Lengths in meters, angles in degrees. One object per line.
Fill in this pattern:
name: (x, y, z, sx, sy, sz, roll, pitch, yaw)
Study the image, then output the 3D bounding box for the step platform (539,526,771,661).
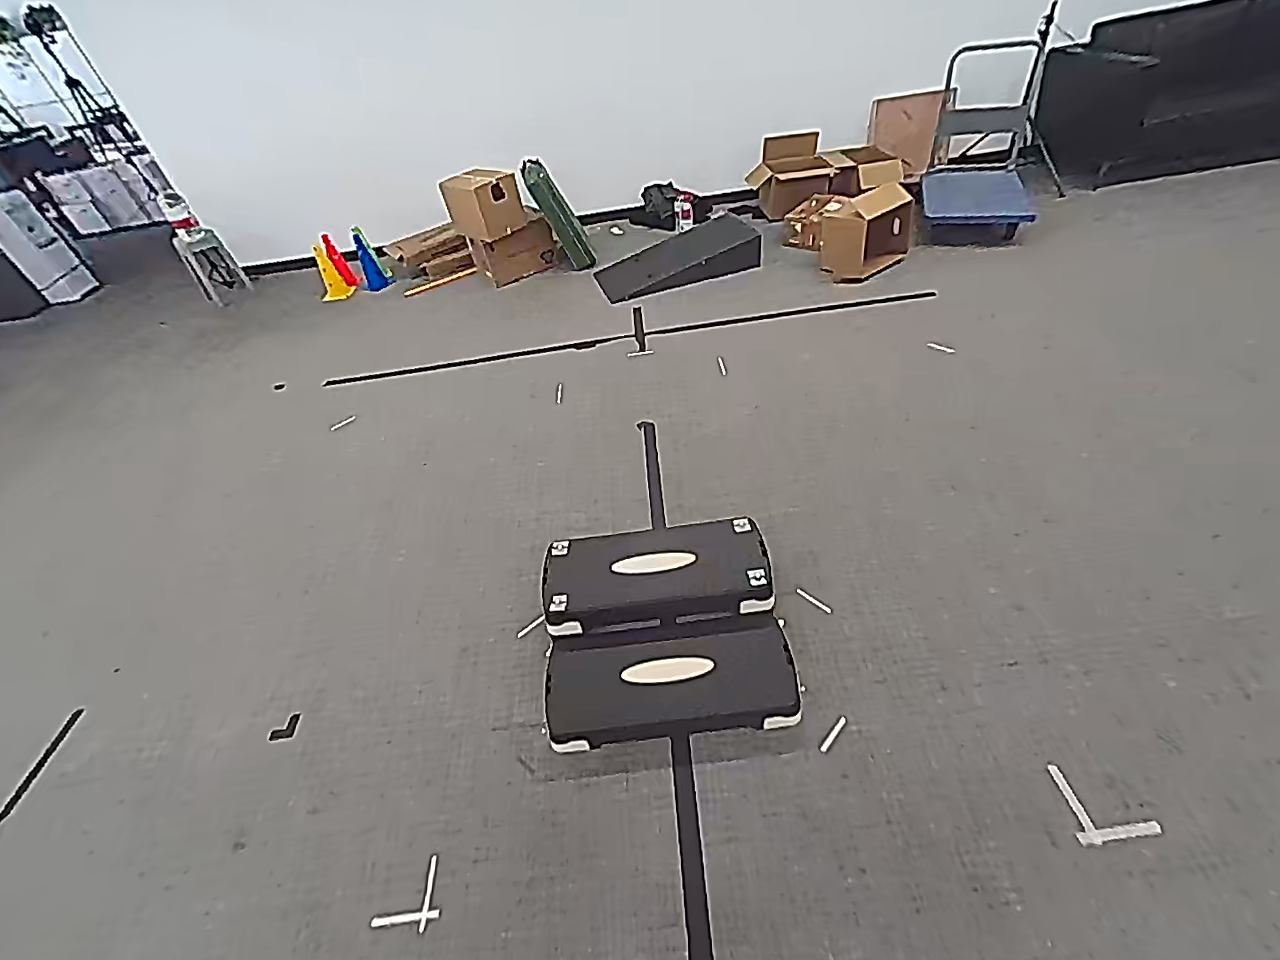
step platform: (0.041, 0.335, 1.627, 0.684, 0.204, 0.286, -8, 44, 1)
